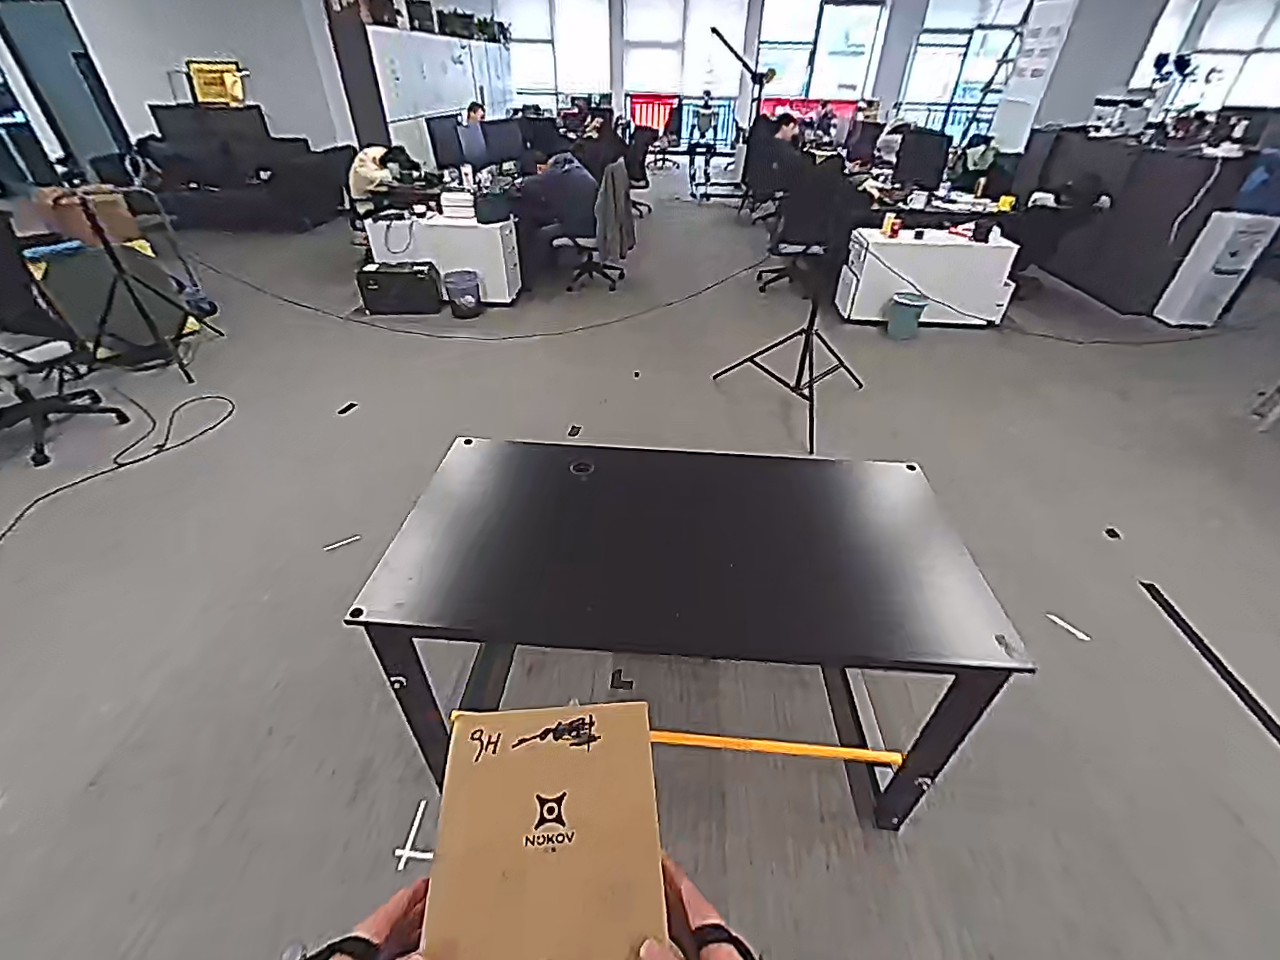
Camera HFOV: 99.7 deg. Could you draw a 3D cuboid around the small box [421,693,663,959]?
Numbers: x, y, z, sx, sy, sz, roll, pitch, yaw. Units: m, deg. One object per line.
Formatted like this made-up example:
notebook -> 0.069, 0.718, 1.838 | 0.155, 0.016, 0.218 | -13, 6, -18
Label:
small box -> -0.071, 0.309, 0.472 | 0.168, 0.176, 0.179 | -3, 47, -4
